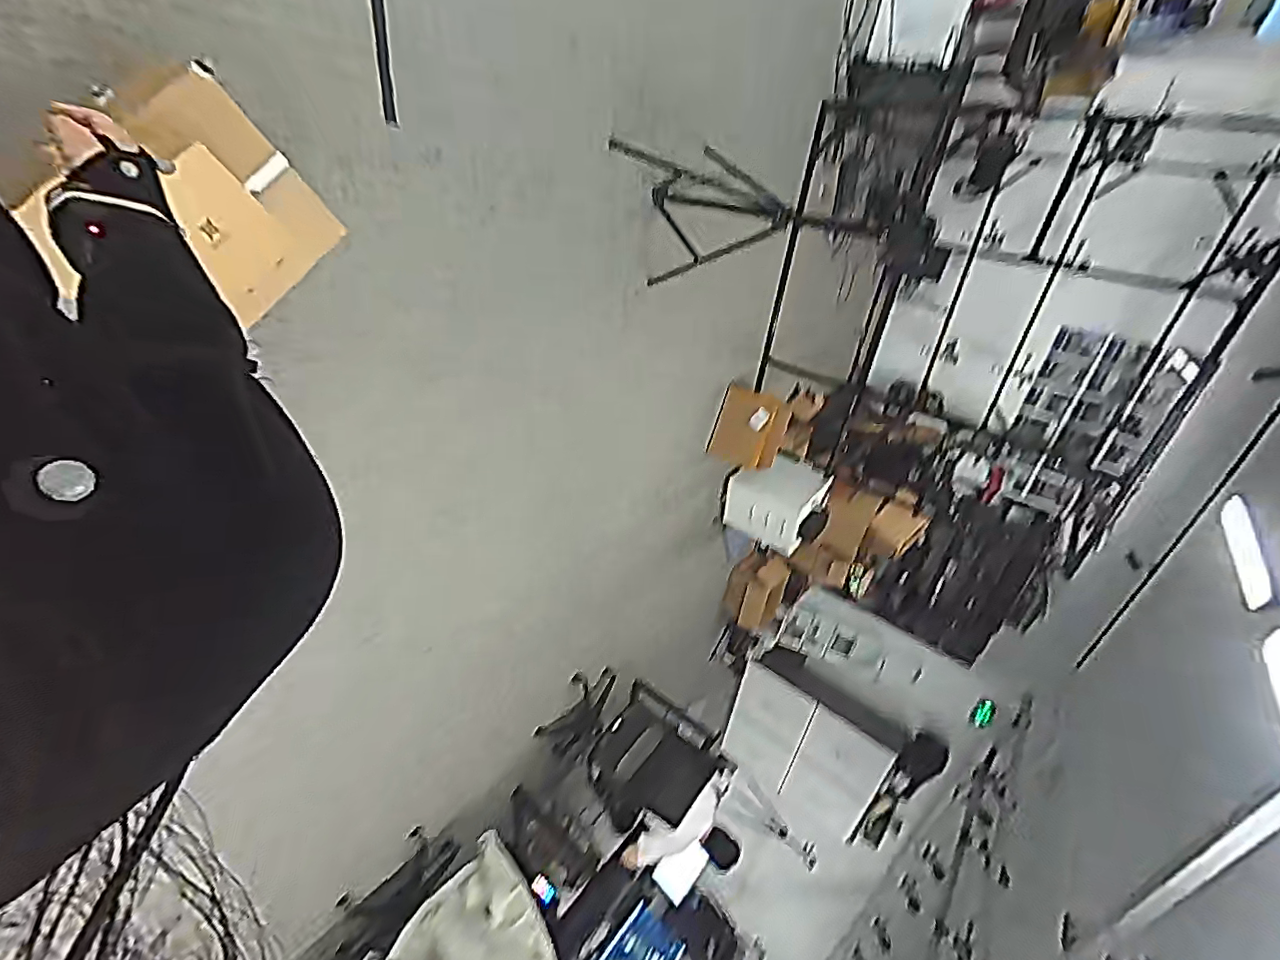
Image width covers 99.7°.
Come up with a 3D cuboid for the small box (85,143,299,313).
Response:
[{"bbox_3d":[-0.697,-0.395,0.845,0.168,0.176,0.179,-54,149,-15],"label":"small box"}]
